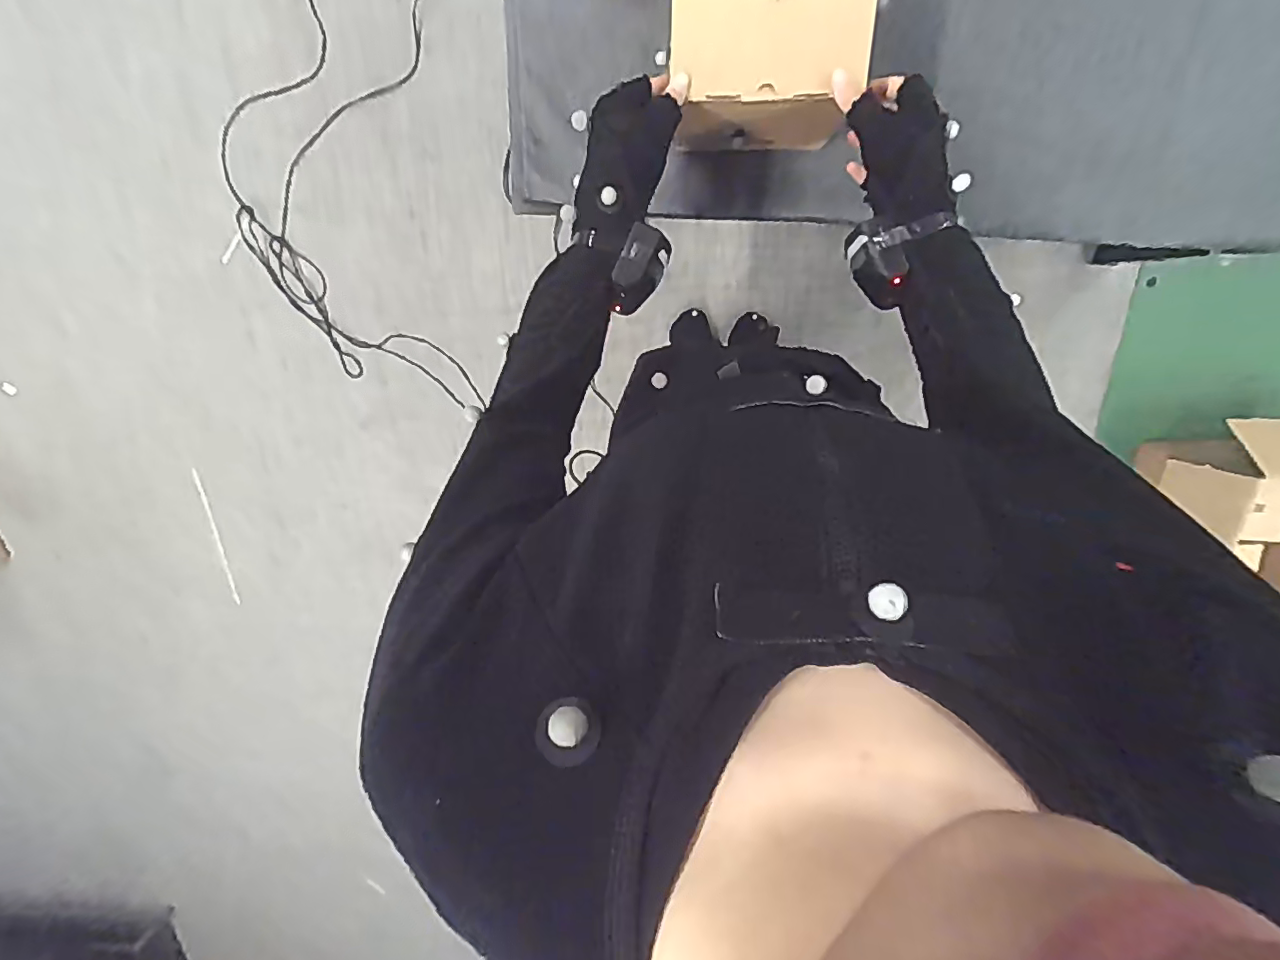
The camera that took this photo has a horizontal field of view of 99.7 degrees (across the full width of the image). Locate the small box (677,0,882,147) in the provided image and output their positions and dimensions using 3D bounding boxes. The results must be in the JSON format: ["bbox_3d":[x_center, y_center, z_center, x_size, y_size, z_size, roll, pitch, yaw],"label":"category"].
[{"bbox_3d":[0.120,-0.434,0.507,0.168,0.176,0.179,2,110,5],"label":"small box"}]
